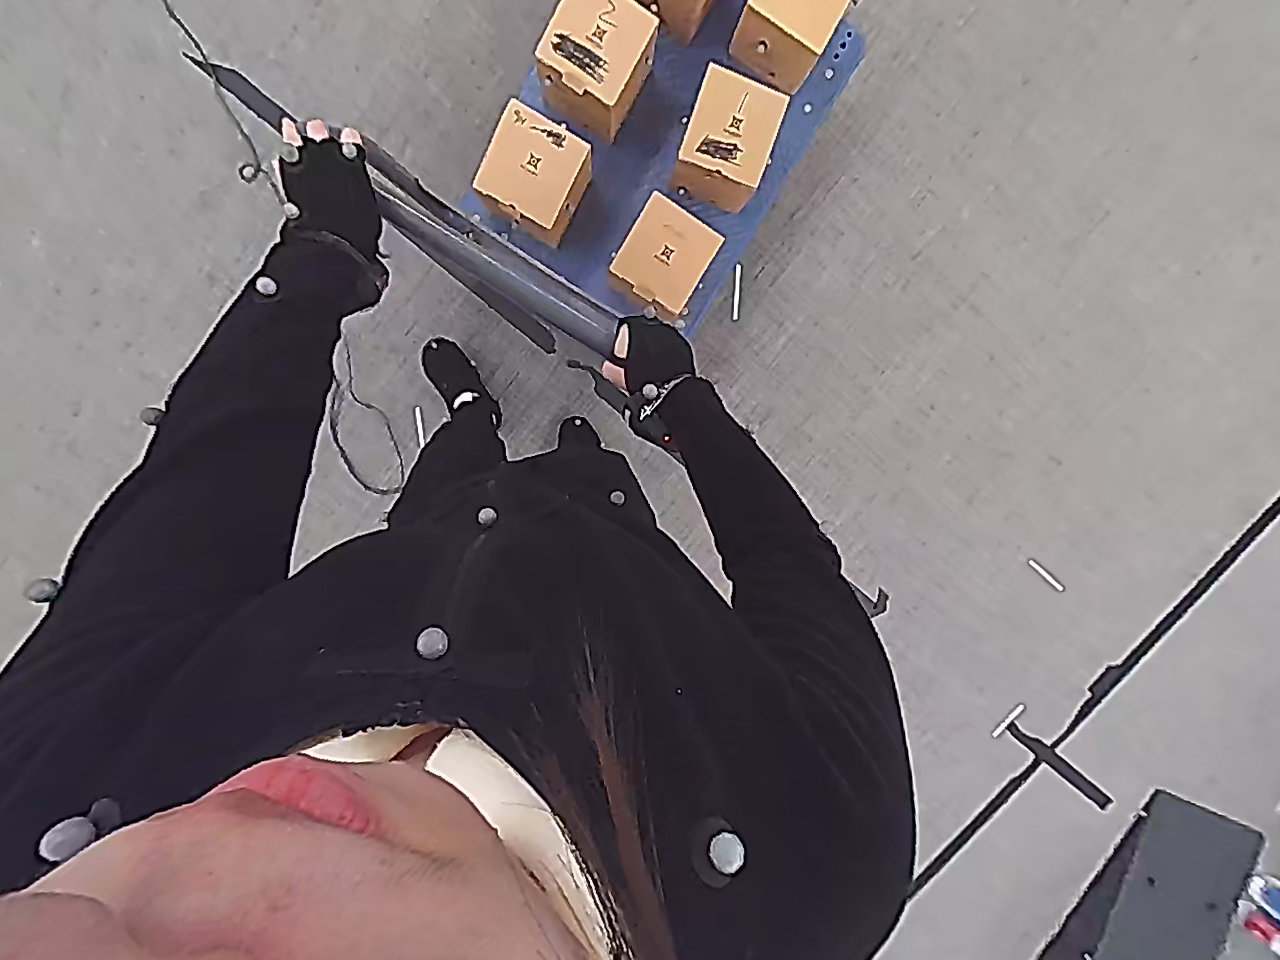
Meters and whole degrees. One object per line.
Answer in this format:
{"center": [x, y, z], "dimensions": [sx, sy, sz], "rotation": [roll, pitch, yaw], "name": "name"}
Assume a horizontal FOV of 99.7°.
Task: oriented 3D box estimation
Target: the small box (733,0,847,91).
{"center": [0.299, -0.924, 1.064], "dimensions": [0.168, 0.176, 0.179], "rotation": [28, 98, -9], "name": "small box"}

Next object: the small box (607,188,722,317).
{"center": [0.045, -0.465, 1.139], "dimensions": [0.168, 0.176, 0.179], "rotation": [31, 97, -10], "name": "small box"}

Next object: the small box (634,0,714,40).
{"center": [0.083, -1.010, 1.027], "dimensions": [0.168, 0.176, 0.179], "rotation": [33, 98, -10], "name": "small box"}

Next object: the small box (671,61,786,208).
{"center": [0.169, -0.687, 1.102], "dimensions": [0.168, 0.176, 0.179], "rotation": [19, 99, -8], "name": "small box"}

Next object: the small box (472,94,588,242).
{"center": [-0.210, -0.611, 1.089], "dimensions": [0.168, 0.176, 0.179], "rotation": [27, 99, -10], "name": "small box"}
